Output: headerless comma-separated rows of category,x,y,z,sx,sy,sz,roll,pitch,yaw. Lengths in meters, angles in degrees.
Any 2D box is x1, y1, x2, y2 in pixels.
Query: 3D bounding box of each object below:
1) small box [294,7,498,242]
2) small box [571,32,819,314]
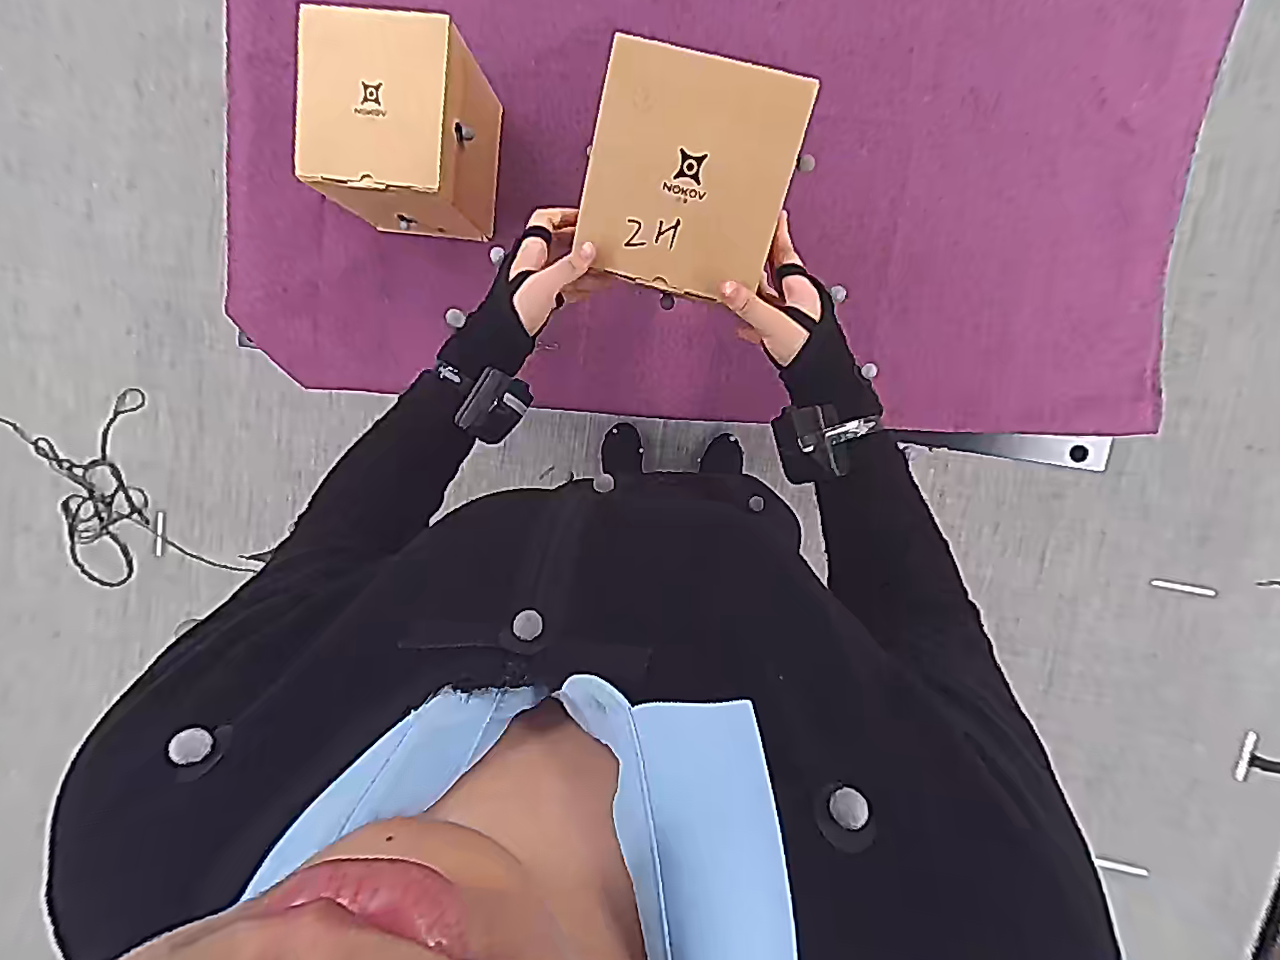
small box,-0.280,-0.411,0.654,0.168,0.176,0.179,7,98,3
small box,0.049,-0.268,0.517,0.168,0.176,0.179,17,108,4
